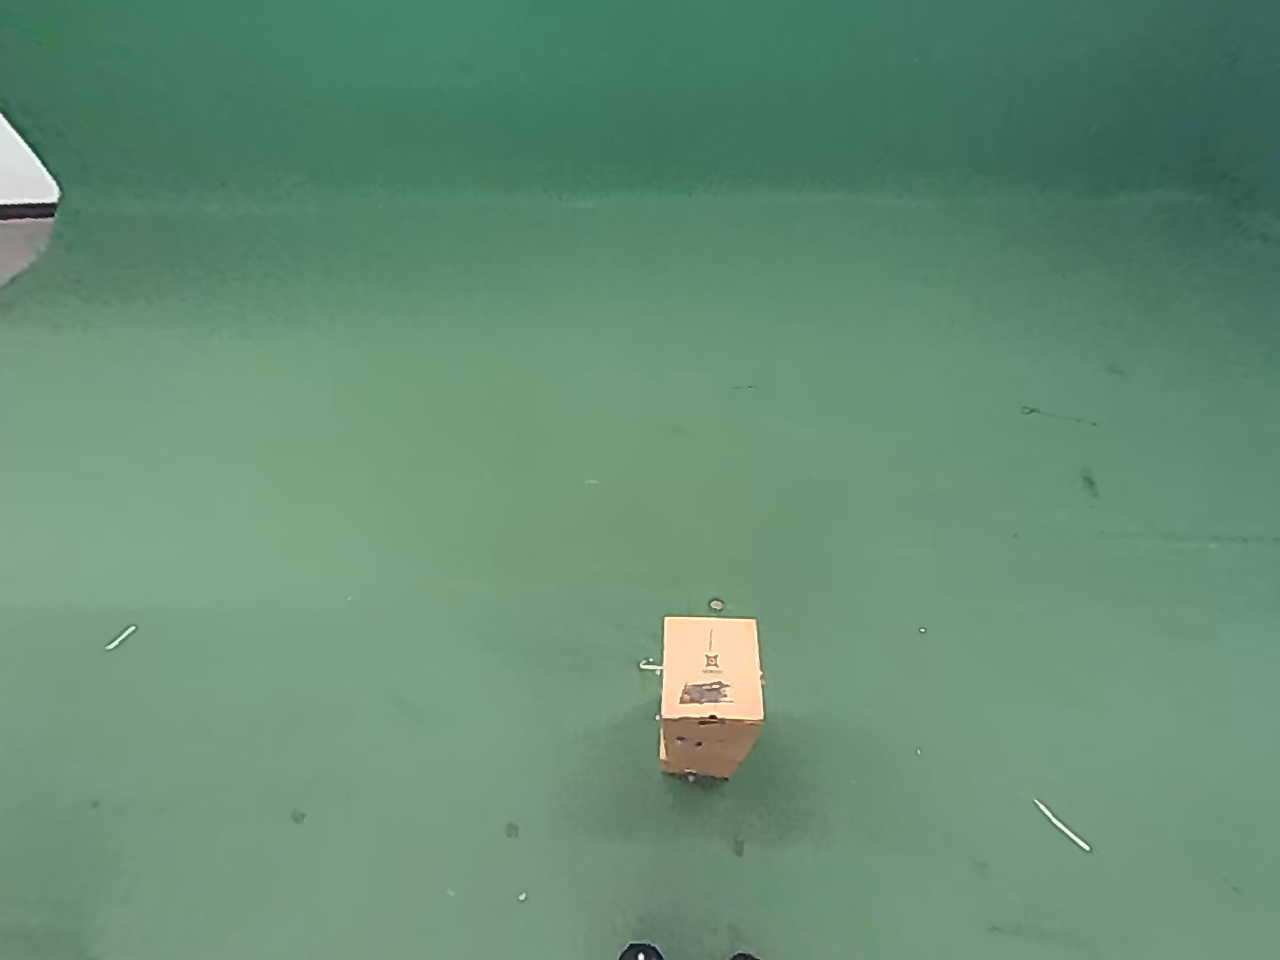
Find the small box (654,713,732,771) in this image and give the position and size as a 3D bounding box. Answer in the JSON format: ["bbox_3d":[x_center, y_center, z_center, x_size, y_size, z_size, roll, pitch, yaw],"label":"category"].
[{"bbox_3d":[0.123,0.545,1.230,0.168,0.176,0.179,3,54,7],"label":"small box"}]

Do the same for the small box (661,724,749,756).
[{"bbox_3d":[0.129,0.454,1.117,0.168,0.176,0.179,1,52,4],"label":"small box"}]

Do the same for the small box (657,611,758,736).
[{"bbox_3d":[0.119,0.356,0.985,0.168,0.176,0.179,1,52,4],"label":"small box"}]
